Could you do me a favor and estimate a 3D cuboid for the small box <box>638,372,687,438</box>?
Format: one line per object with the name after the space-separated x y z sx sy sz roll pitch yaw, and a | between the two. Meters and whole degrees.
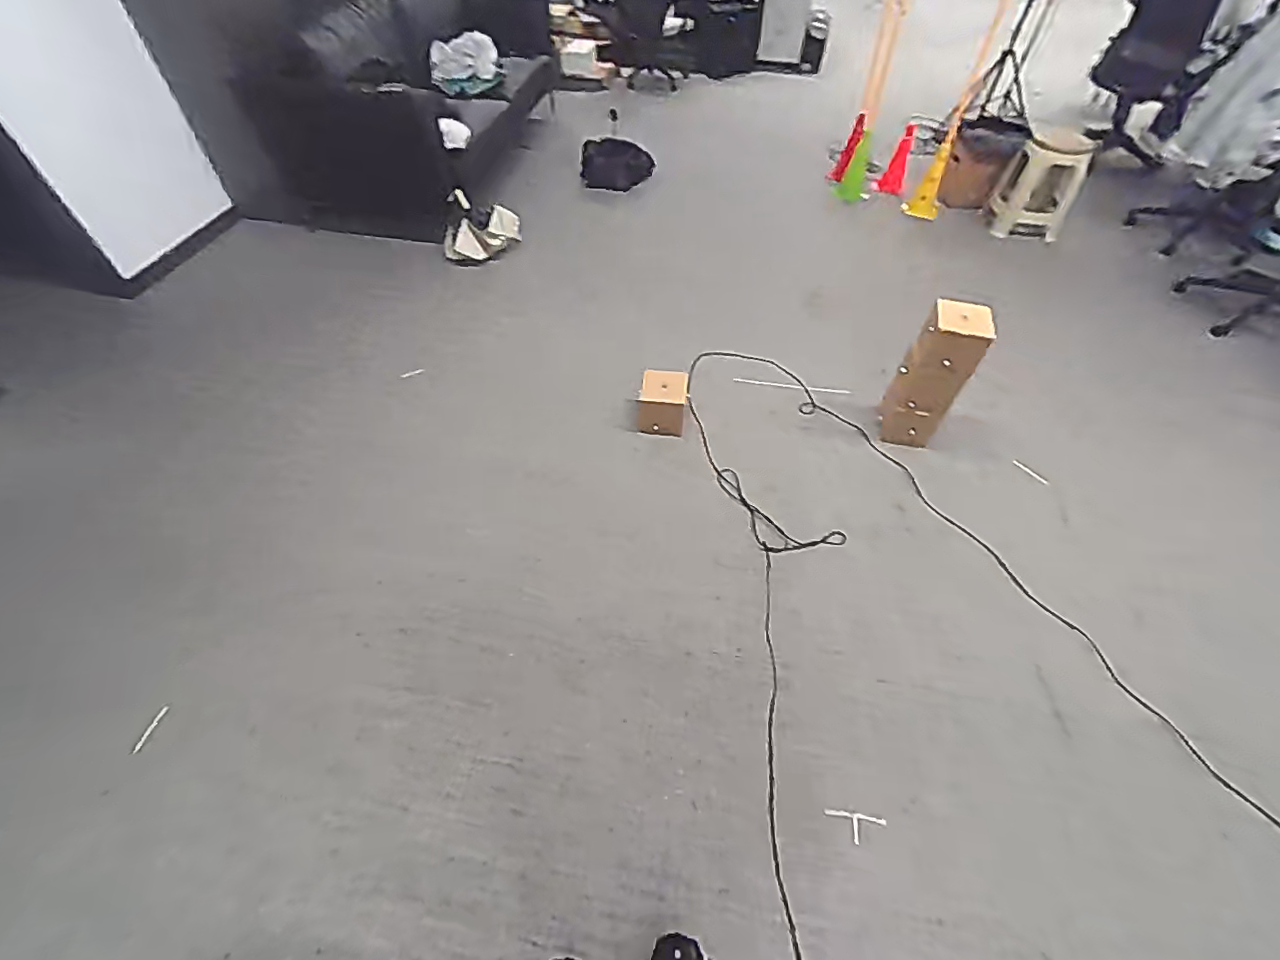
0.083 -0.282 2.037 0.168 0.176 0.179 6 52 4 | small box

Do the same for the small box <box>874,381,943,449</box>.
0.997 -0.239 2.022 0.168 0.176 0.179 9 53 2 | small box

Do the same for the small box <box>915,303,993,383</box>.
1.016 -0.446 1.766 0.168 0.176 0.179 14 53 10 | small box

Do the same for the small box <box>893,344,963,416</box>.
1.005 -0.347 1.894 0.168 0.176 0.179 10 51 7 | small box
